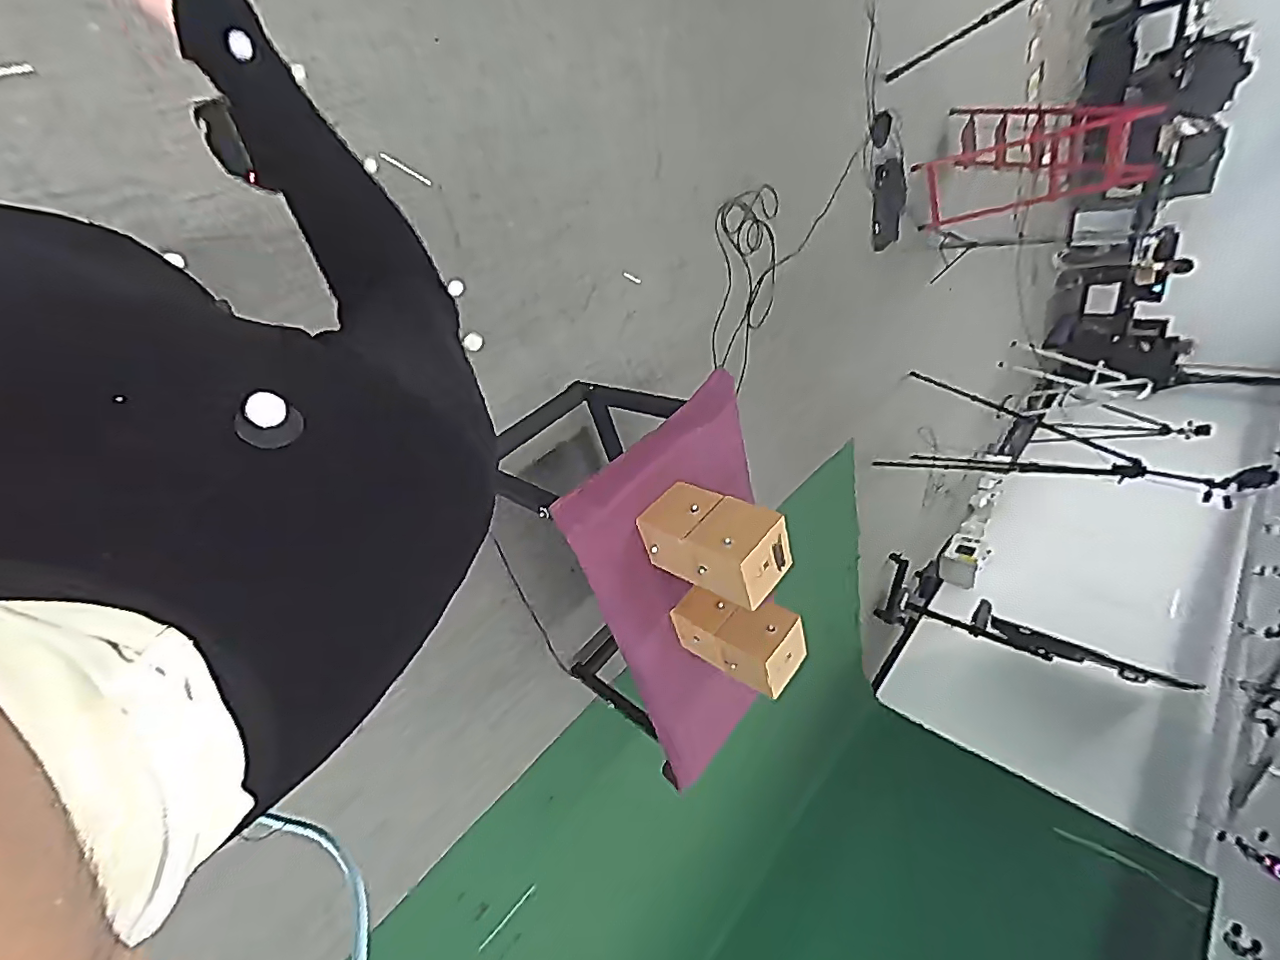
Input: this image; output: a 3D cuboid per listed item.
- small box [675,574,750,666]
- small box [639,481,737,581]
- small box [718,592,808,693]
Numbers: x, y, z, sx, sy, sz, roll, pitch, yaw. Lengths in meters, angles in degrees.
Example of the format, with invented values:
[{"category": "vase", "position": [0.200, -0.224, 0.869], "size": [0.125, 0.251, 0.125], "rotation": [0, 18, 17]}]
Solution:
[{"category": "small box", "position": [0.224, 0.410, 1.615], "size": [0.179, 0.176, 0.168], "rotation": [-42, 129, -29]}, {"category": "small box", "position": [0.126, 0.126, 1.417], "size": [0.179, 0.176, 0.168], "rotation": [-42, 129, -28]}, {"category": "small box", "position": [0.343, 0.444, 1.507], "size": [0.179, 0.176, 0.168], "rotation": [-41, 128, -30]}]
